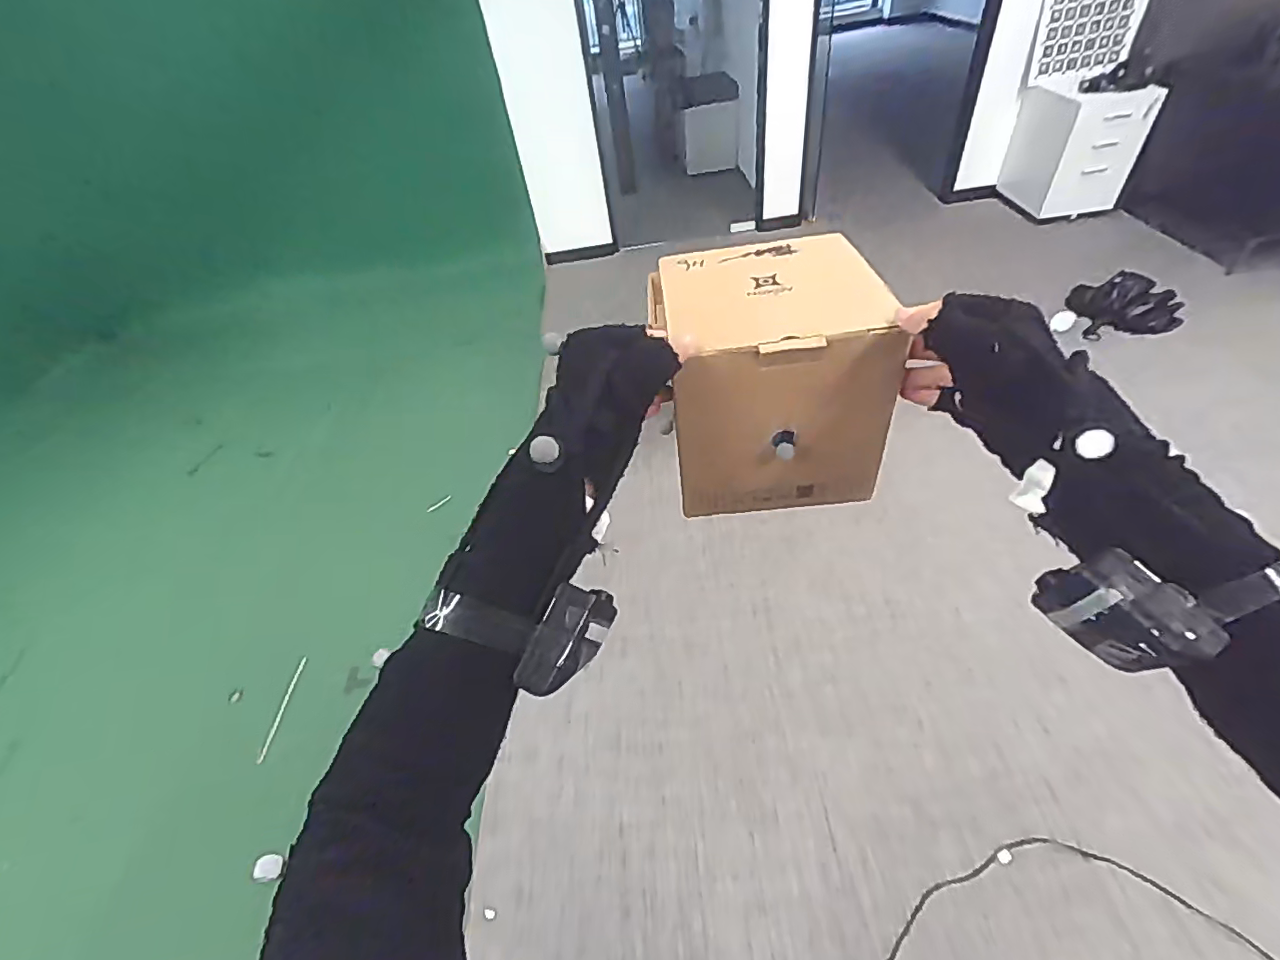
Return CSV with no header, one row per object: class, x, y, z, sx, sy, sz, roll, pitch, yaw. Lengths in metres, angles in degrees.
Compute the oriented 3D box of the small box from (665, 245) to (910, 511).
small box,0.114,-0.085,0.485,0.168,0.176,0.179,-5,43,4
